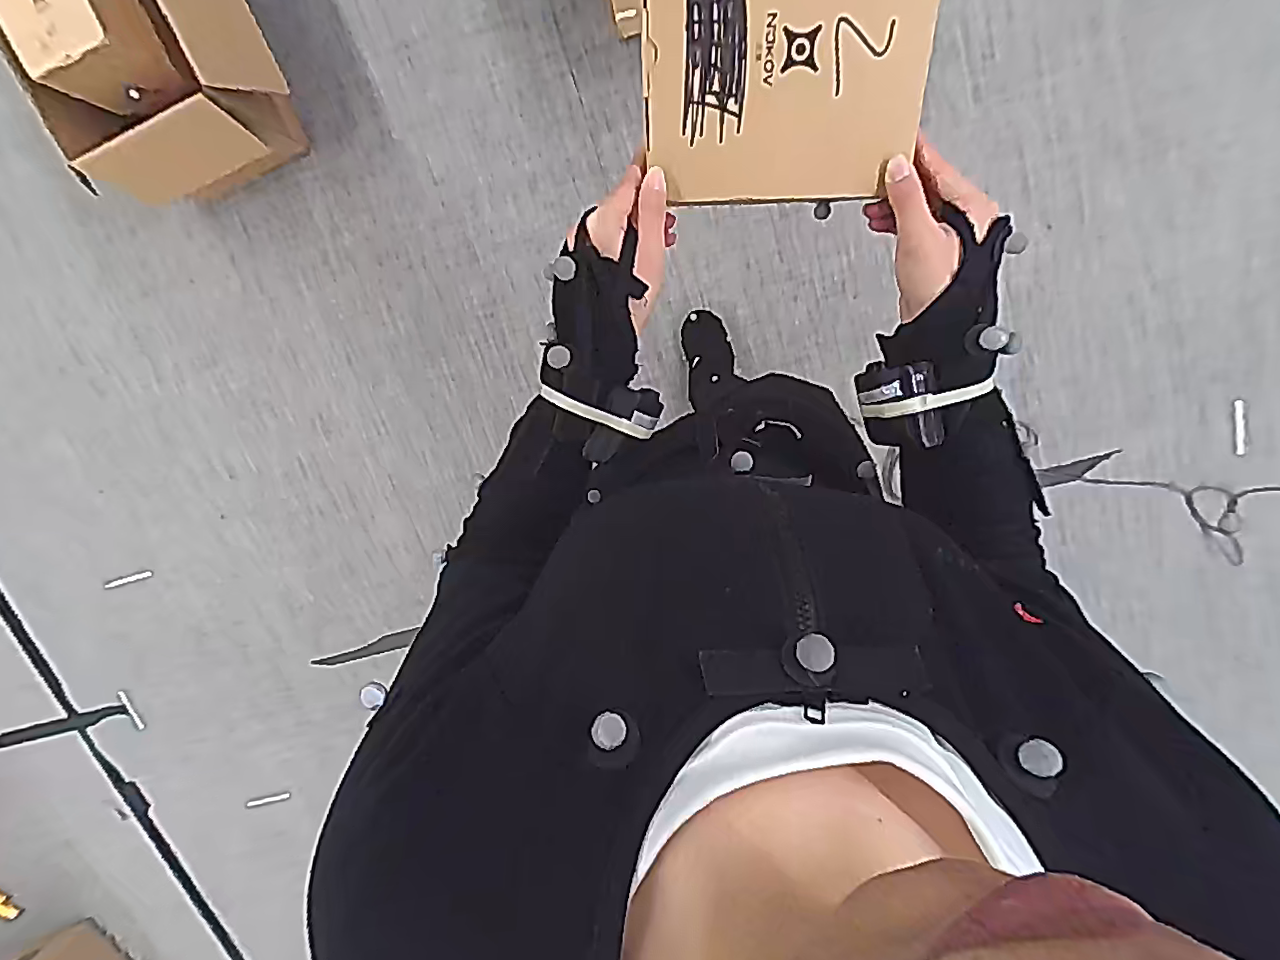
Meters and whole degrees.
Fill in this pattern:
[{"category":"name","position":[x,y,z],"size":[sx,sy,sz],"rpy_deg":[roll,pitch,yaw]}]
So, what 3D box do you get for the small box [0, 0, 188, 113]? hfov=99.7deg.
[{"category":"small box","position":[-0.984,-0.810,0.971],"size":[0.168,0.176,0.179],"rpy_deg":[-18,104,8]}]
